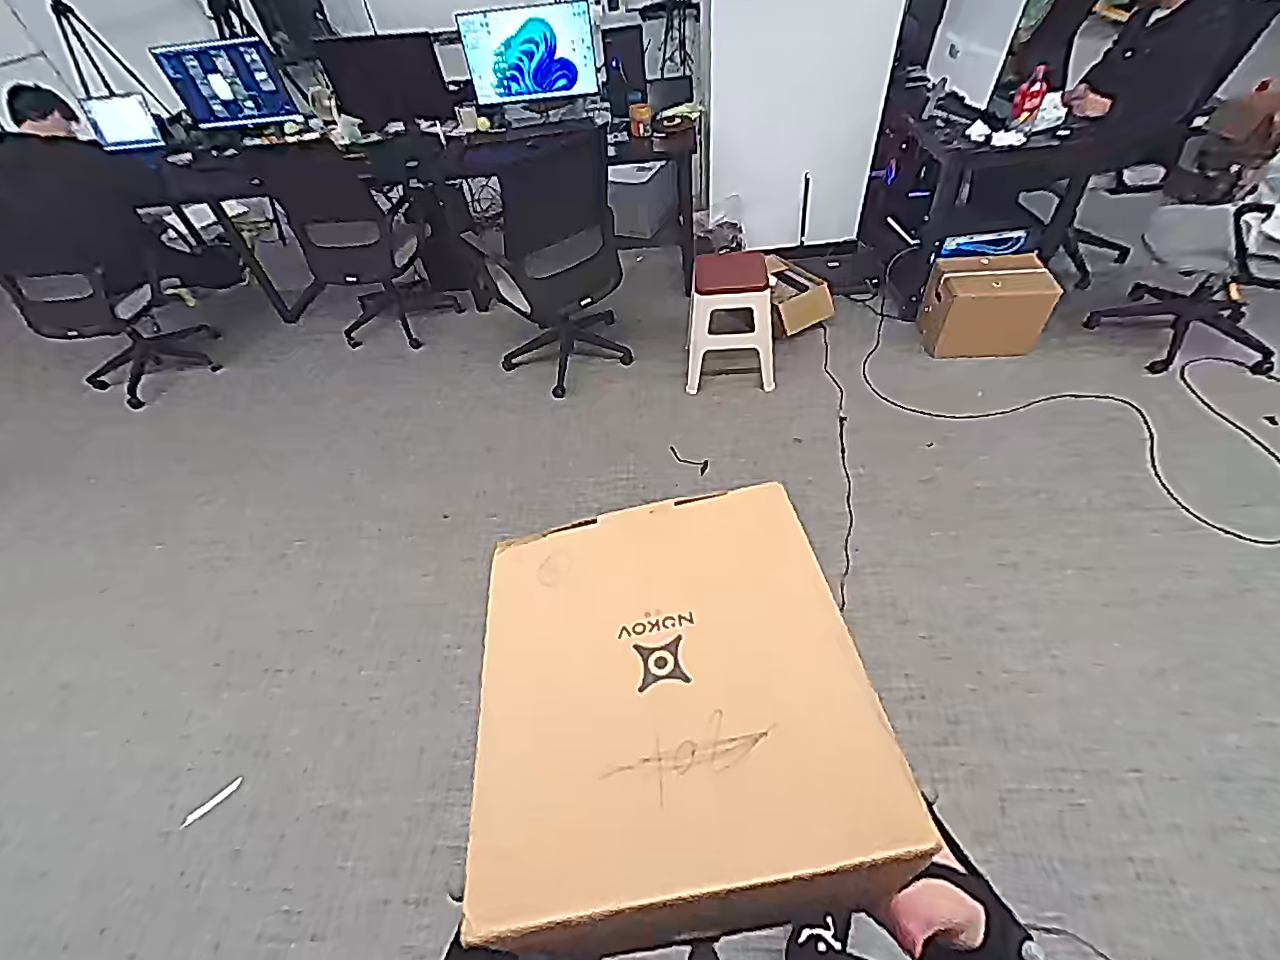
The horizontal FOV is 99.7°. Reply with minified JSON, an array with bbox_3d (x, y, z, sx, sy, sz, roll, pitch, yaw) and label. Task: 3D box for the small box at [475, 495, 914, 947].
[{"bbox_3d":[0.022,0.138,0.311,0.168,0.176,0.179,-12,46,2],"label":"small box"}]
